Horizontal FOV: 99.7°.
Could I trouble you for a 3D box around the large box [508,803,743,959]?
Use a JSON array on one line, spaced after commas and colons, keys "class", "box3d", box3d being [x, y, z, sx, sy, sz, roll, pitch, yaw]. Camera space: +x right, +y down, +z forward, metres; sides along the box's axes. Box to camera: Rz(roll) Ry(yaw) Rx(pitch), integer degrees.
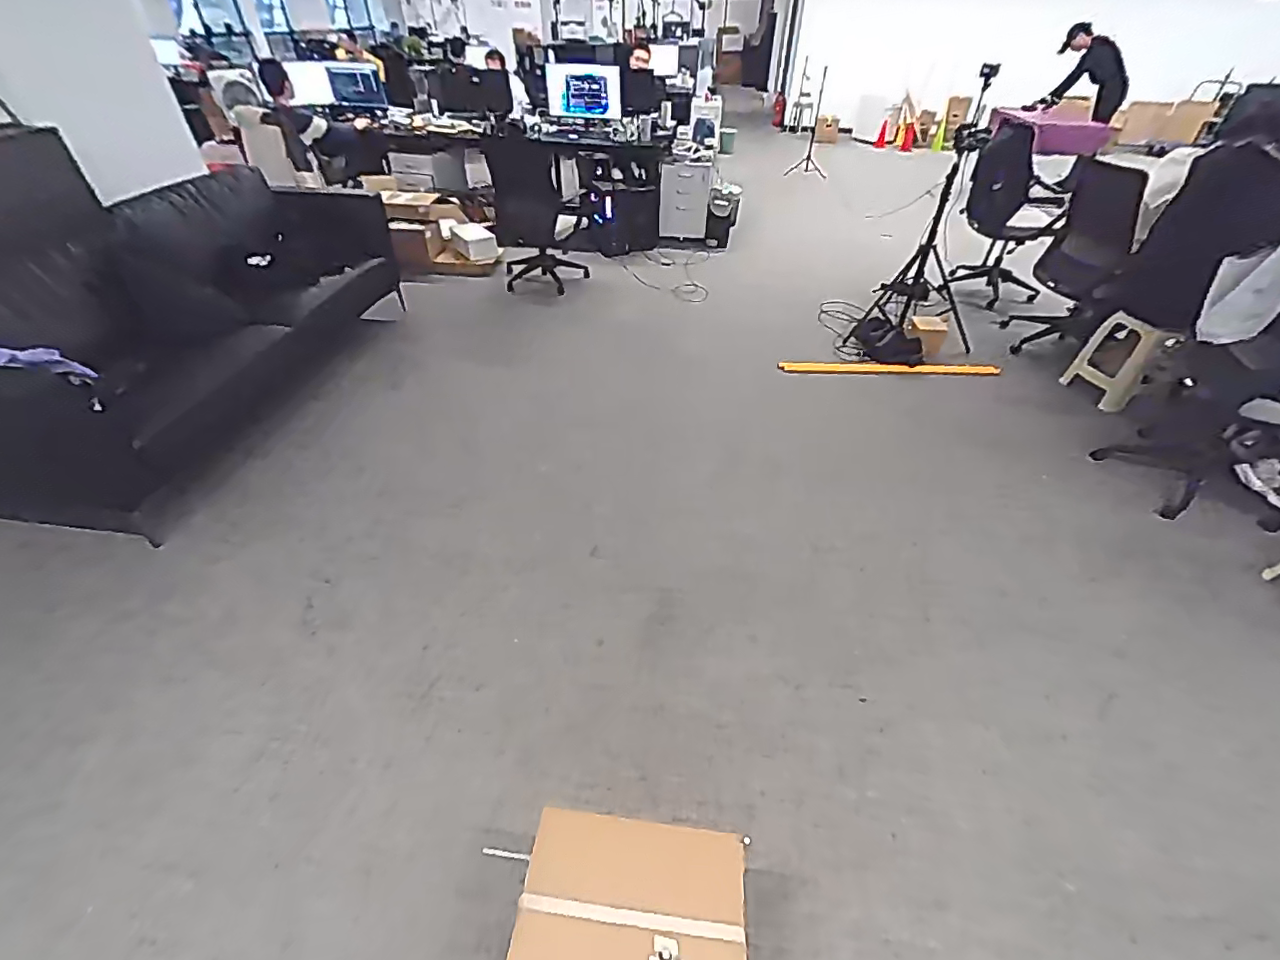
[{"class": "large box", "box3d": [-0.021, 0.882, 1.060, 0.408, 0.320, 0.320, 6, 41, 5]}]
